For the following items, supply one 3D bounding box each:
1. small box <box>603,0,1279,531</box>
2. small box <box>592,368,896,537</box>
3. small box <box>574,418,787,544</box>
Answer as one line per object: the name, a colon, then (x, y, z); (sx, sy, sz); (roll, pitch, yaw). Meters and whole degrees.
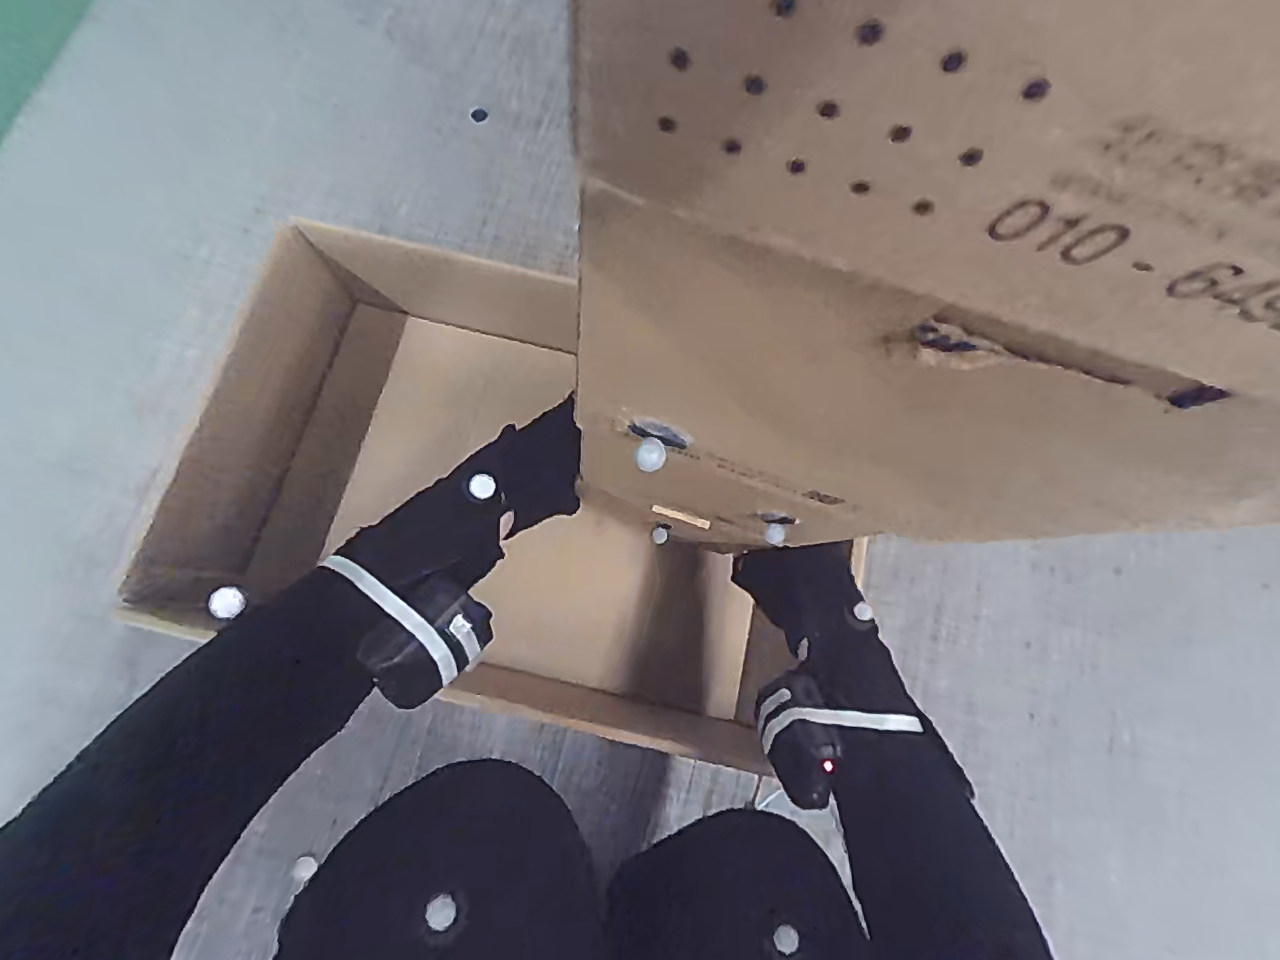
small box: (0.091, -0.091, 0.162); (0.168, 0.176, 0.179); (19, 79, -5)
small box: (0.075, -0.073, 0.308); (0.168, 0.176, 0.179); (18, 78, -4)
small box: (0.045, -0.045, 0.486); (0.168, 0.176, 0.179); (15, 79, -4)
